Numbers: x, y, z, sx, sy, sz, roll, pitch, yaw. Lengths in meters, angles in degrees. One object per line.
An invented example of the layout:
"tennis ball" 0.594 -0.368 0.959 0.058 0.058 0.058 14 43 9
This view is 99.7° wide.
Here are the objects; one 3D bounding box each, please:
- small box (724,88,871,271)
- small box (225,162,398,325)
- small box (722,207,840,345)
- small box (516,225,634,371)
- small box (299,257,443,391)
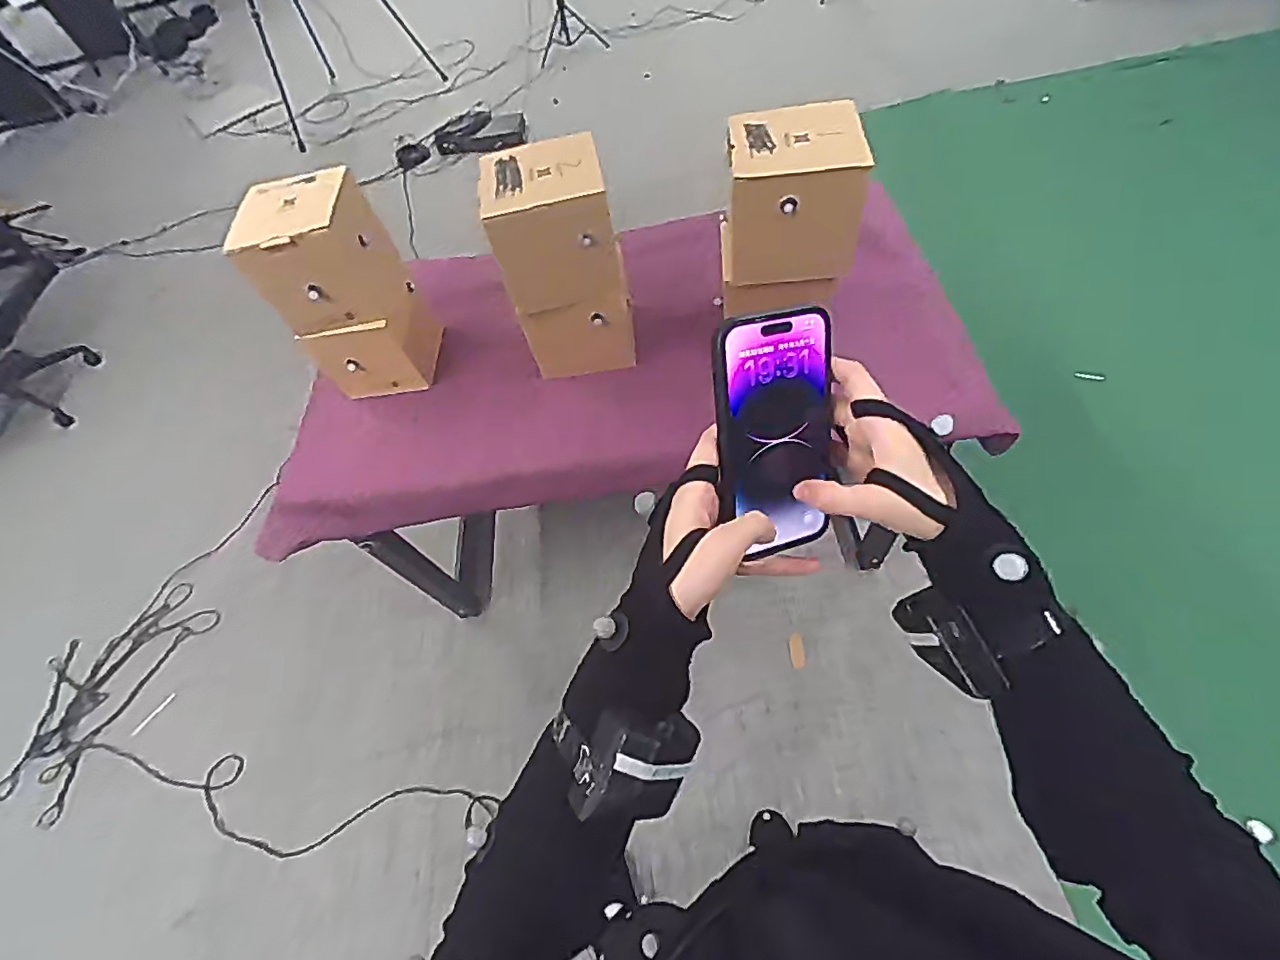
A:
"small box" 0.214 -0.423 0.779 0.179 0.176 0.168 -2 59 8
"small box" -0.519 -0.375 0.885 0.168 0.176 0.179 -11 59 3
"small box" 0.231 -0.351 0.926 0.179 0.176 0.168 -3 59 10
"small box" -0.107 -0.319 0.967 0.179 0.176 0.168 -8 58 6
"small box" -0.492 -0.284 1.020 0.168 0.176 0.179 -7 58 6
